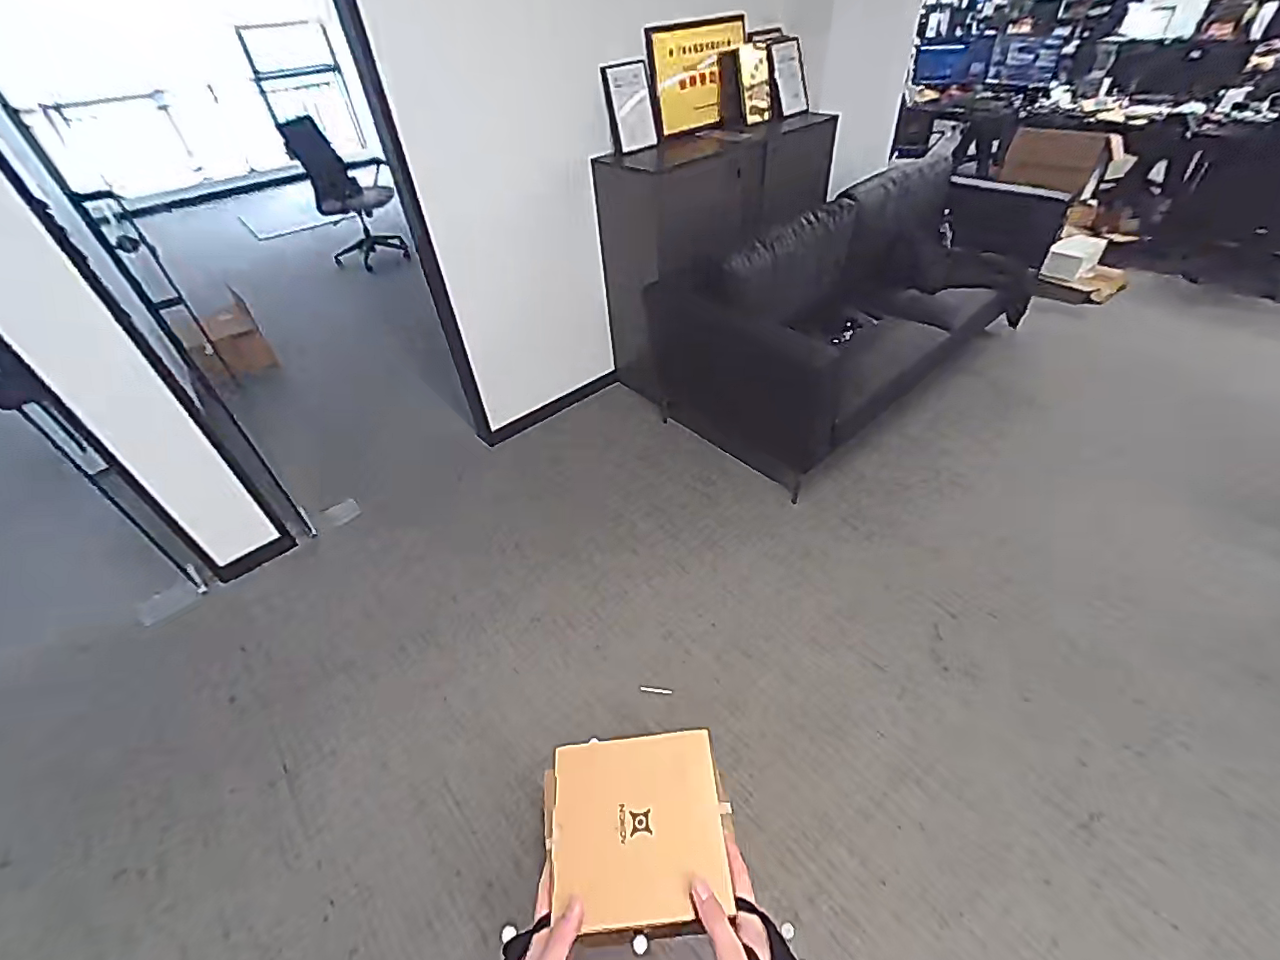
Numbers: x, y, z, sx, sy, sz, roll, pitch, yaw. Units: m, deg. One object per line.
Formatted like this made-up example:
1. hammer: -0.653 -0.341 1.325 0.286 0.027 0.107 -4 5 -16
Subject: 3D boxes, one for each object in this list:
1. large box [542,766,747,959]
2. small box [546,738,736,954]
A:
1. large box: 0.005 0.869 1.256 0.408 0.320 0.320 -9 41 -4
2. small box: 0.003 0.406 0.598 0.179 0.176 0.168 -8 46 2
